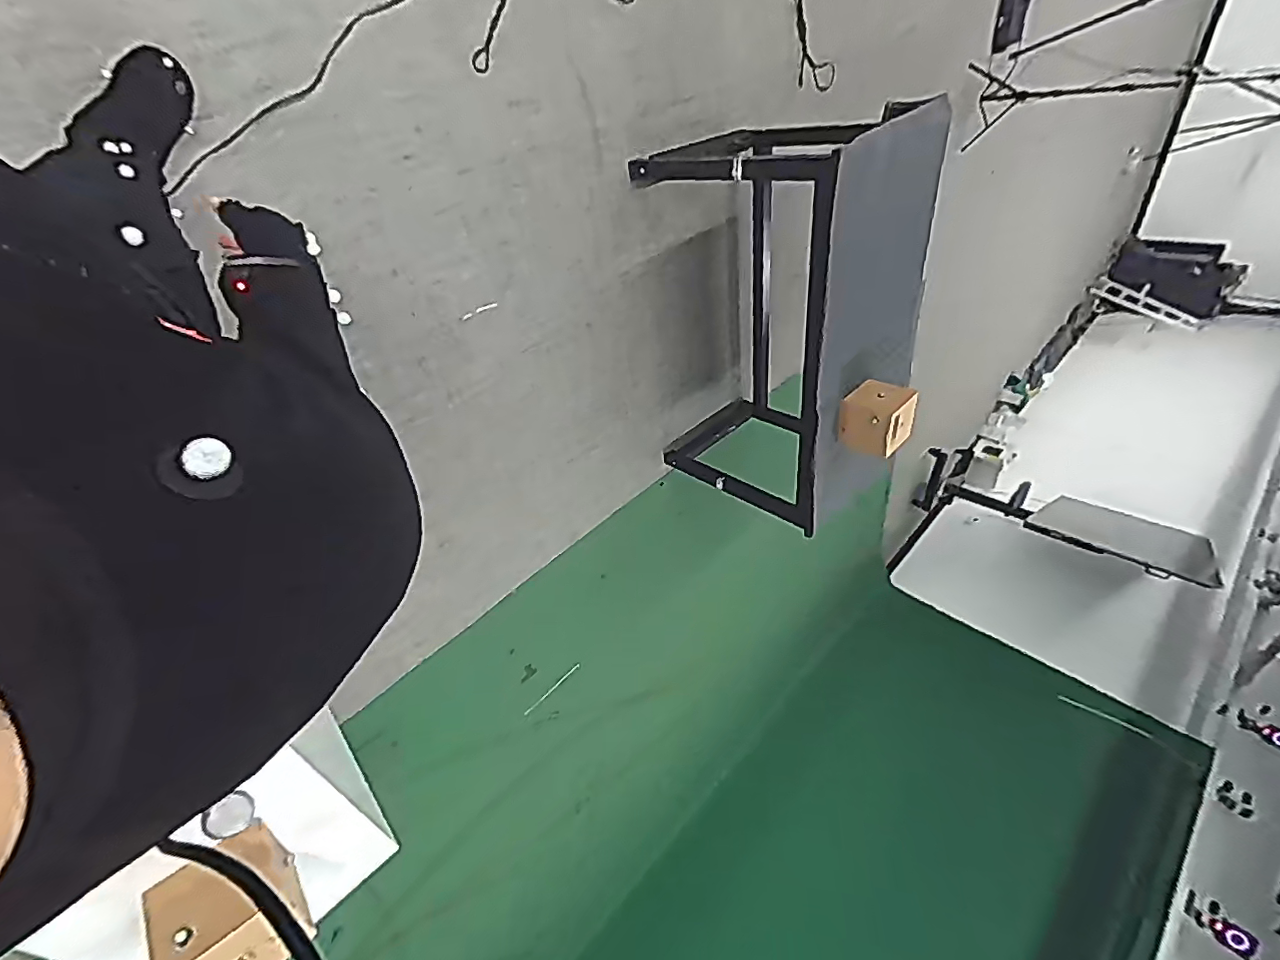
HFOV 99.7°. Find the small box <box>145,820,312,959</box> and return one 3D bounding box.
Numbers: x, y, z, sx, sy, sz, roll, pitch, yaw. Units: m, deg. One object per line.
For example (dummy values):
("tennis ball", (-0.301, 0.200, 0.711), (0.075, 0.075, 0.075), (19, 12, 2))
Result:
("small box", (-0.701, 0.739, 0.921), (0.179, 0.176, 0.168), (-28, 131, -34))
